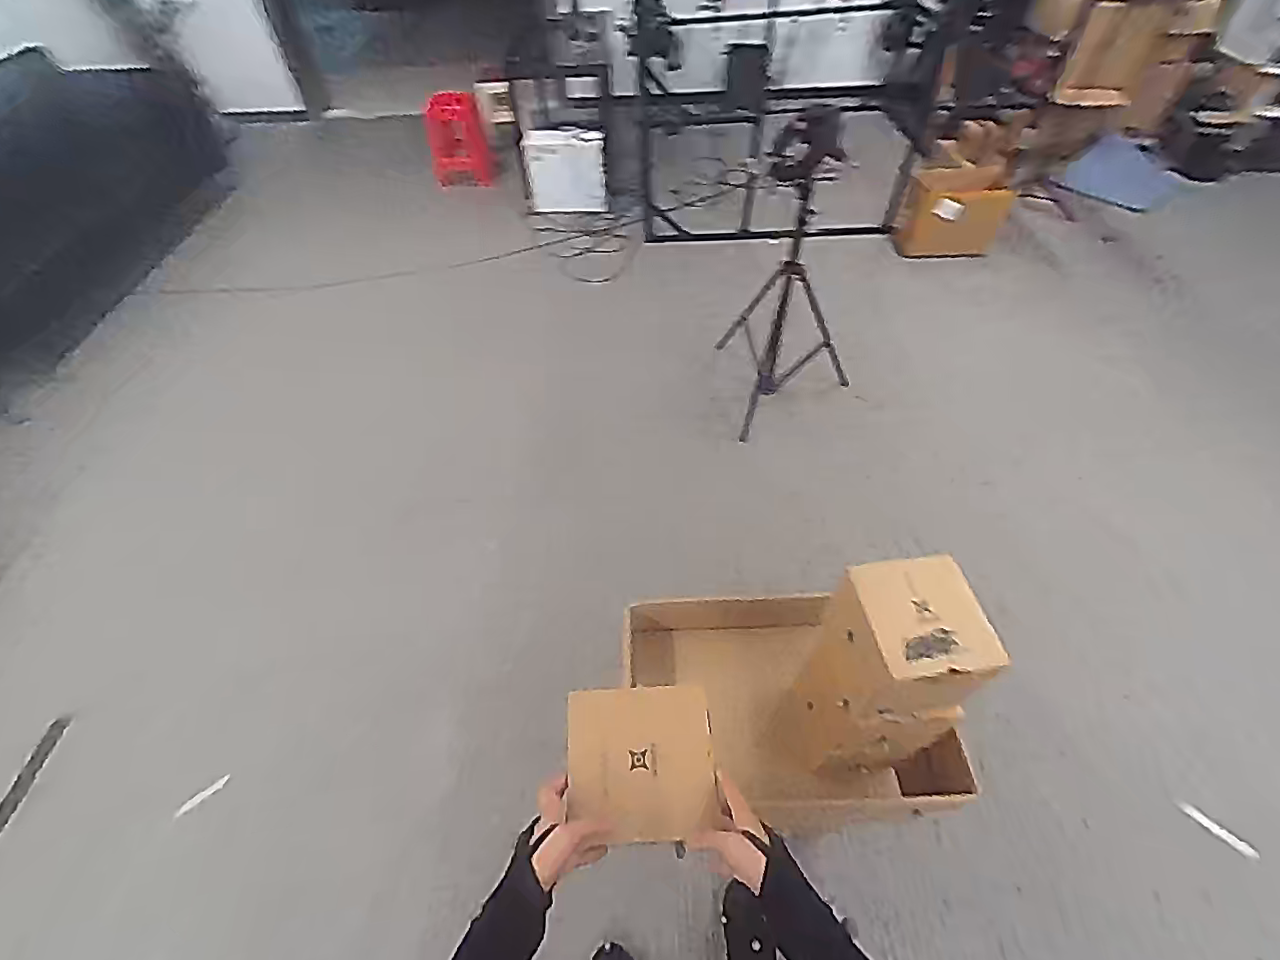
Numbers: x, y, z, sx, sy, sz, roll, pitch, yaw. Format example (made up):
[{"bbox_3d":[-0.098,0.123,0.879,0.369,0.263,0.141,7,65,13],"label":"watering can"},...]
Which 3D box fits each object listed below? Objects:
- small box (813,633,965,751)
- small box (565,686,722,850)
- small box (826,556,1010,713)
[{"bbox_3d":[0.415,0.353,0.939,0.168,0.176,0.179,-4,51,0],"label":"small box"},{"bbox_3d":[-0.004,0.374,0.699,0.179,0.176,0.168,-2,55,-4],"label":"small box"},{"bbox_3d":[0.402,0.240,0.820,0.168,0.176,0.179,-6,50,-3],"label":"small box"}]
